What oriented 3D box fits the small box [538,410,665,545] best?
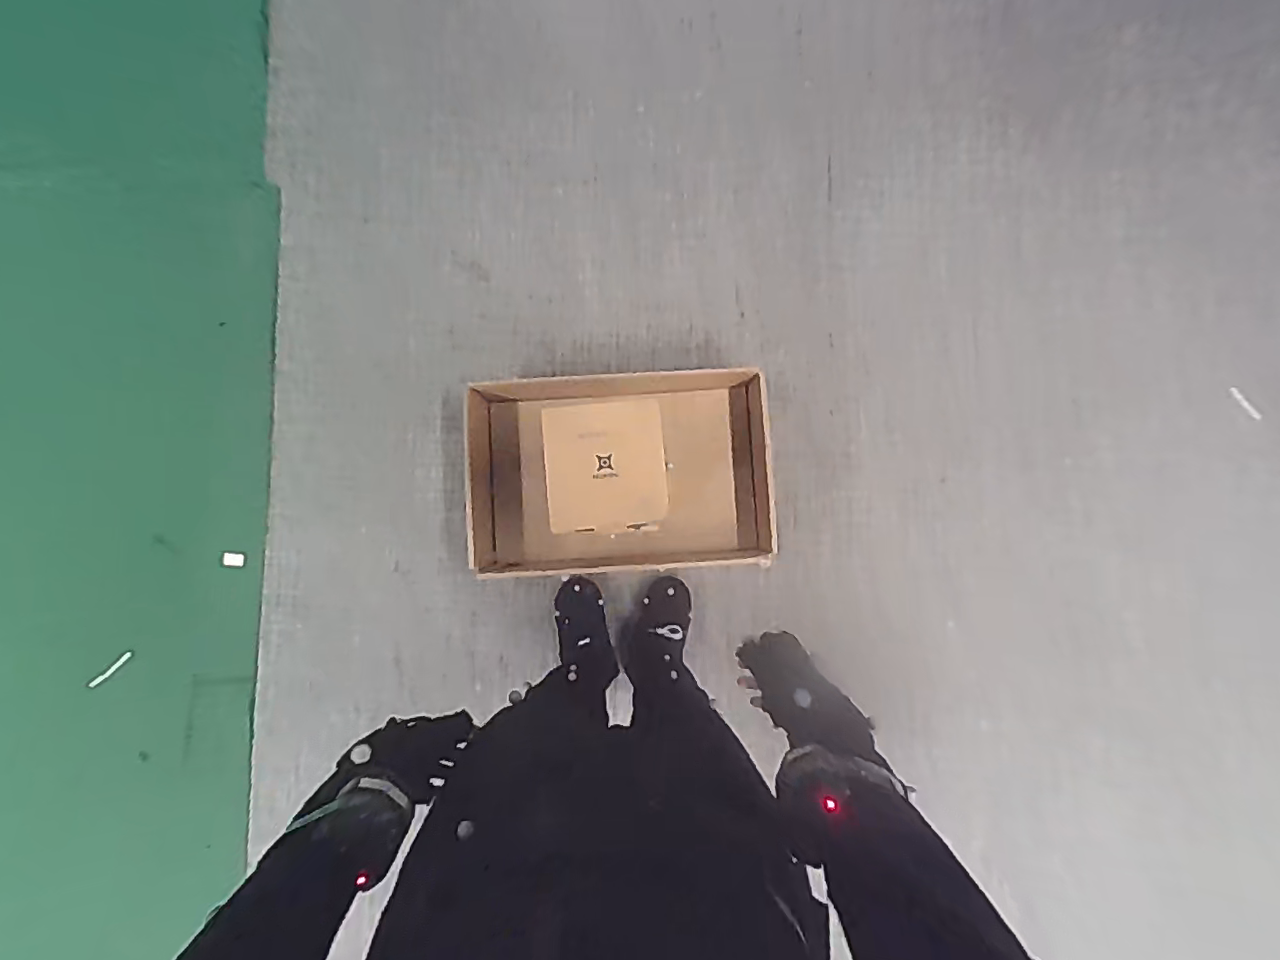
[{"bbox_3d":[-0.053,0.003,0.821,0.168,0.176,0.179,-6,84,-2],"label":"small box"}]
